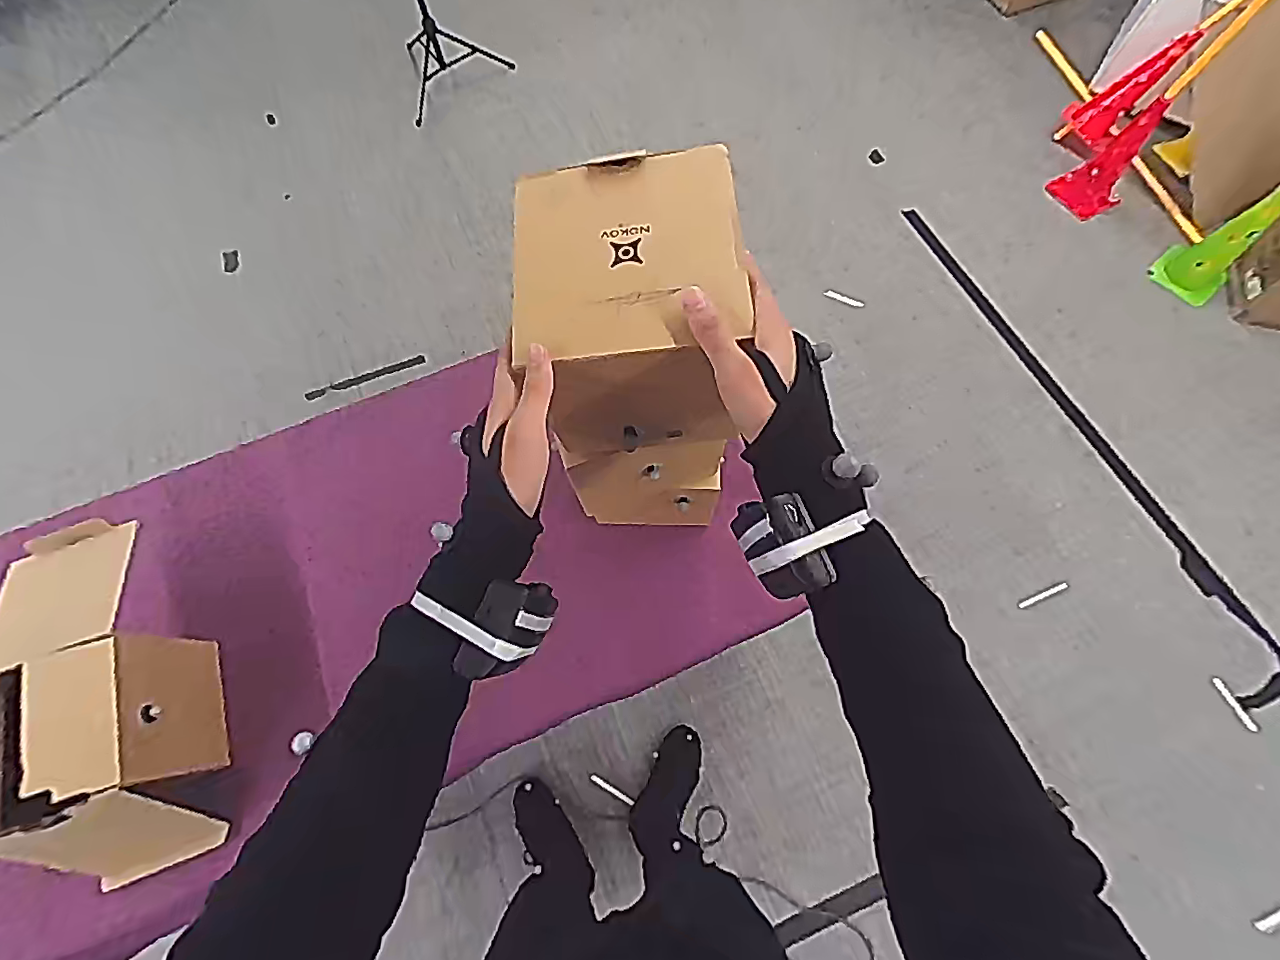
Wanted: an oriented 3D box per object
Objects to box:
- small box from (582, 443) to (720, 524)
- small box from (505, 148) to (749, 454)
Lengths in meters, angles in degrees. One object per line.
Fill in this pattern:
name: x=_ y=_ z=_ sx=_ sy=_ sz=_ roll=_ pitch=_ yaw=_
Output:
small box: x=0.018 y=-0.038 z=0.786 sx=0.179 sy=0.176 sz=0.168 roll=2 pitch=69 yaw=3
small box: x=-0.005 y=-0.136 z=0.459 sx=0.168 sy=0.176 sz=0.179 roll=-5 pitch=71 yaw=5
